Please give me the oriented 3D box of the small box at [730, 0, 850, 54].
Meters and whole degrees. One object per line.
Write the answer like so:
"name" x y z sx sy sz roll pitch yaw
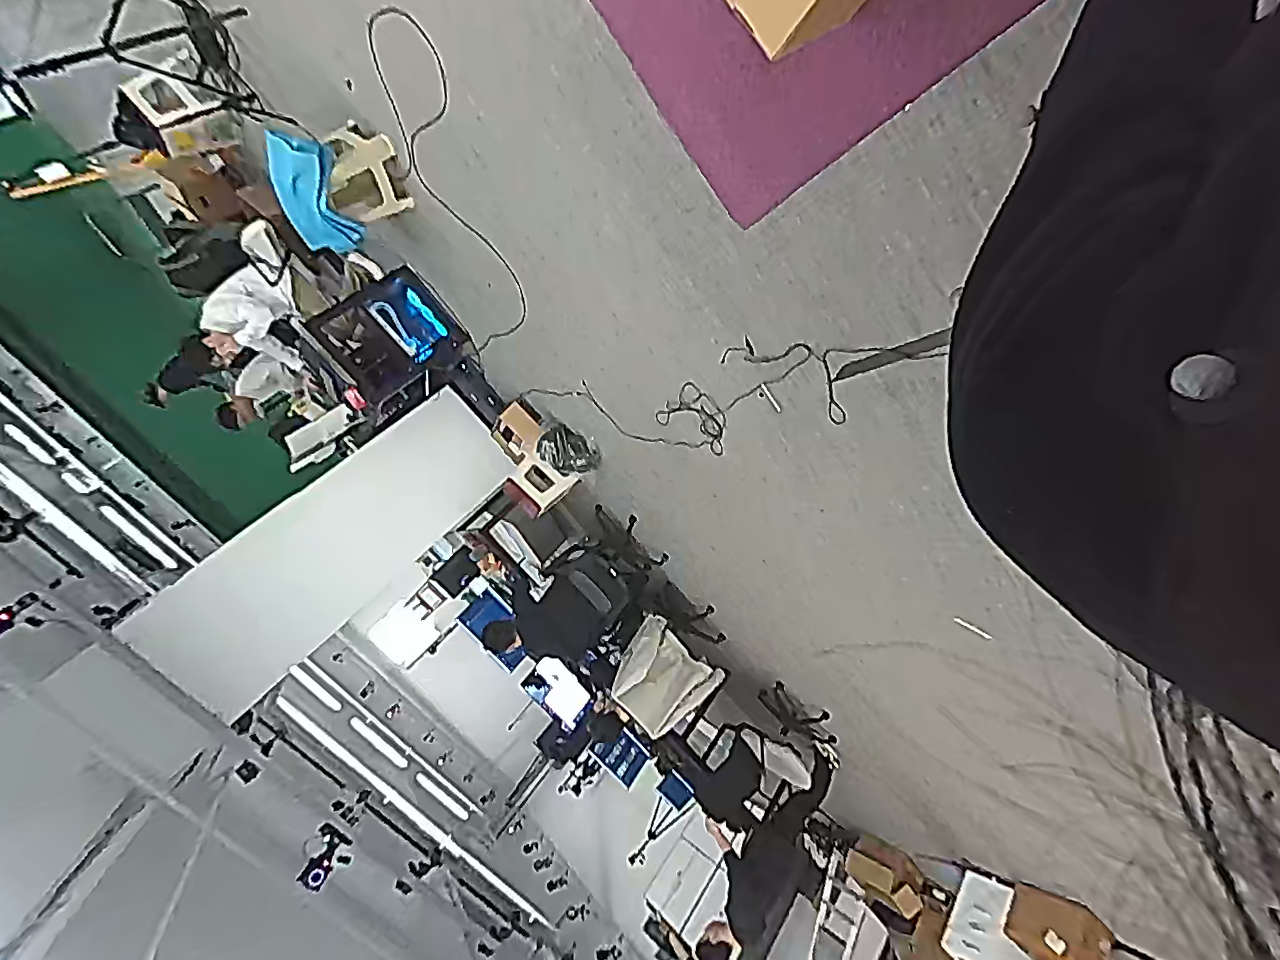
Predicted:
"small box" 0.160 -0.544 0.476 0.168 0.176 0.179 49 153 -10
